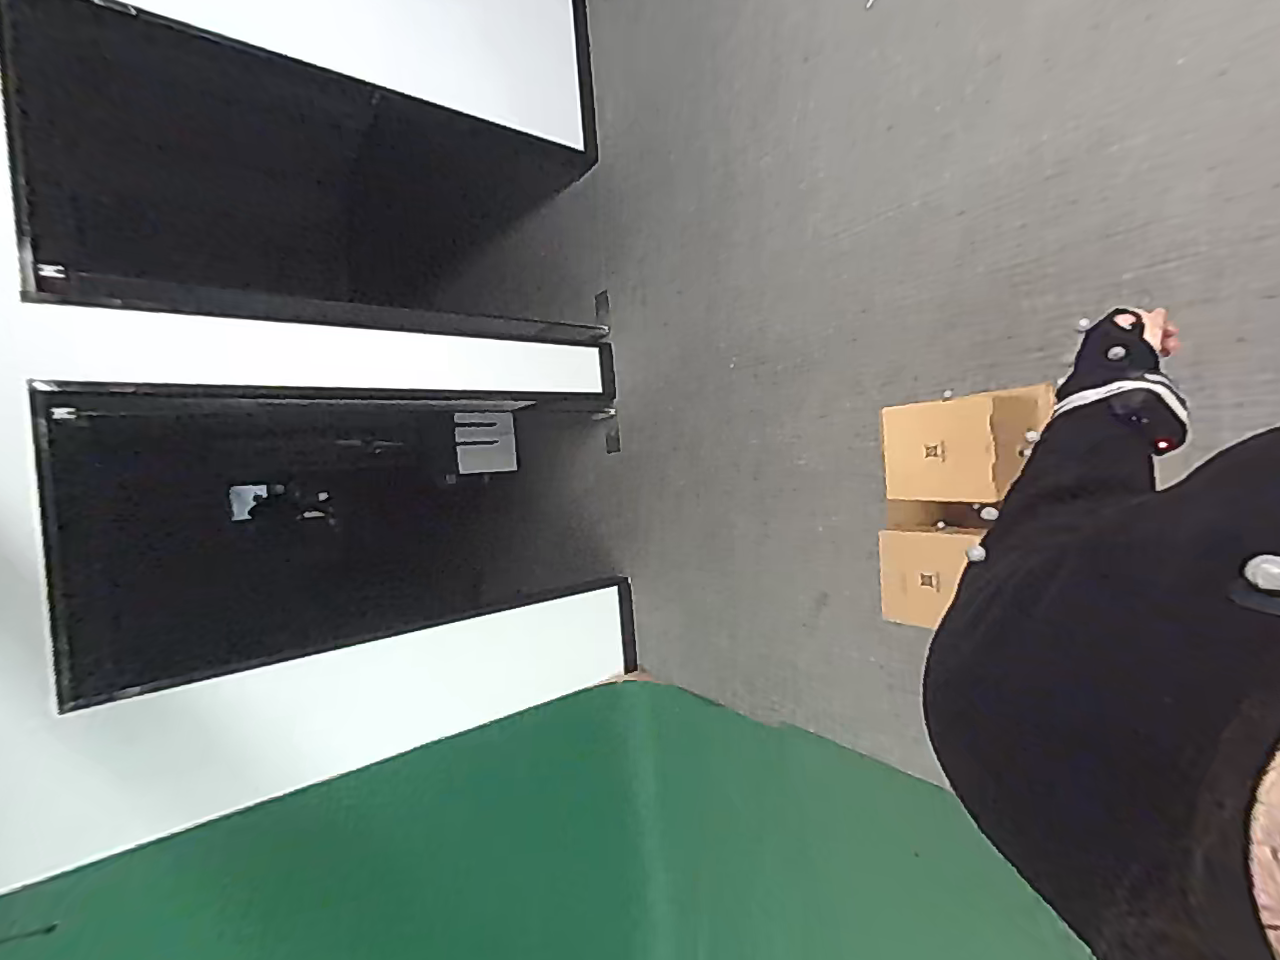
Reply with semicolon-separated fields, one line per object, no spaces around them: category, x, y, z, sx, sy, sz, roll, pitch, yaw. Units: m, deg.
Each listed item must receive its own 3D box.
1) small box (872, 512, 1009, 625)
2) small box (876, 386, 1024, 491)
small box;0.547;0.148;0.981;0.179;0.176;0.168;0;93;52
small box;0.543;-0.073;0.952;0.179;0.176;0.168;1;97;53
